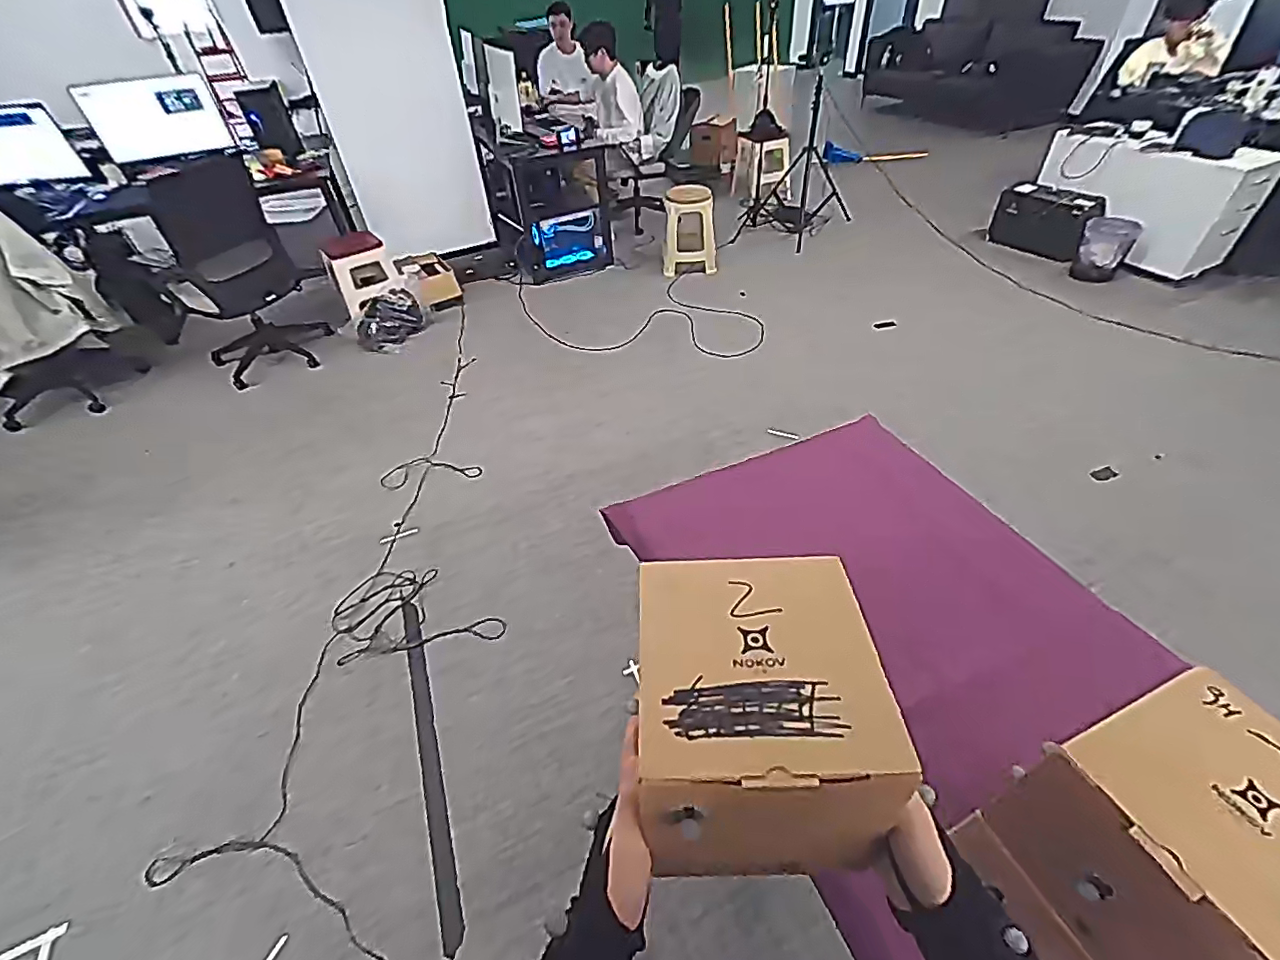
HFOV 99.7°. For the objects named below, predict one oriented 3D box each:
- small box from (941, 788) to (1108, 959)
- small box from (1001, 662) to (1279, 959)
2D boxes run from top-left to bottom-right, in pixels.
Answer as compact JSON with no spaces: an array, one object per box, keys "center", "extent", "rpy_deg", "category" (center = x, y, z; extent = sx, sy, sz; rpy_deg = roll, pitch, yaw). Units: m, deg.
[{"center":[0.449,0.410,0.561],"extent":[0.179,0.176,0.168],"rpy_deg":[-18,45,-15],"category":"small box"},{"center":[0.444,0.291,0.449],"extent":[0.179,0.176,0.168],"rpy_deg":[-18,45,-14],"category":"small box"}]
